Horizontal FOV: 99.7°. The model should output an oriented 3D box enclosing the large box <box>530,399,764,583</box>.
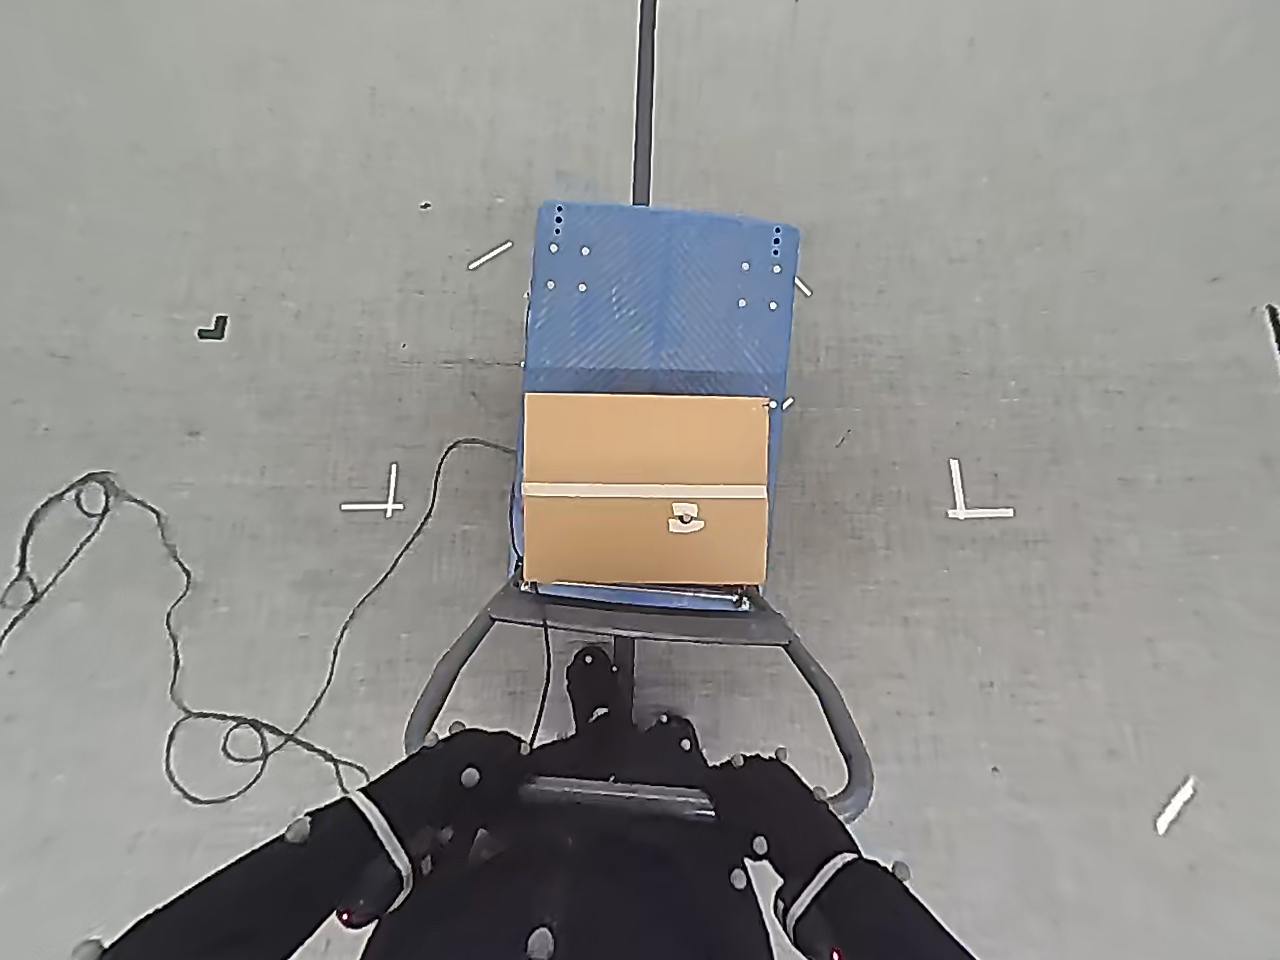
[{"bbox_3d":[0.006,0.018,1.066,0.408,0.320,0.320,1,92,-2],"label":"large box"}]
